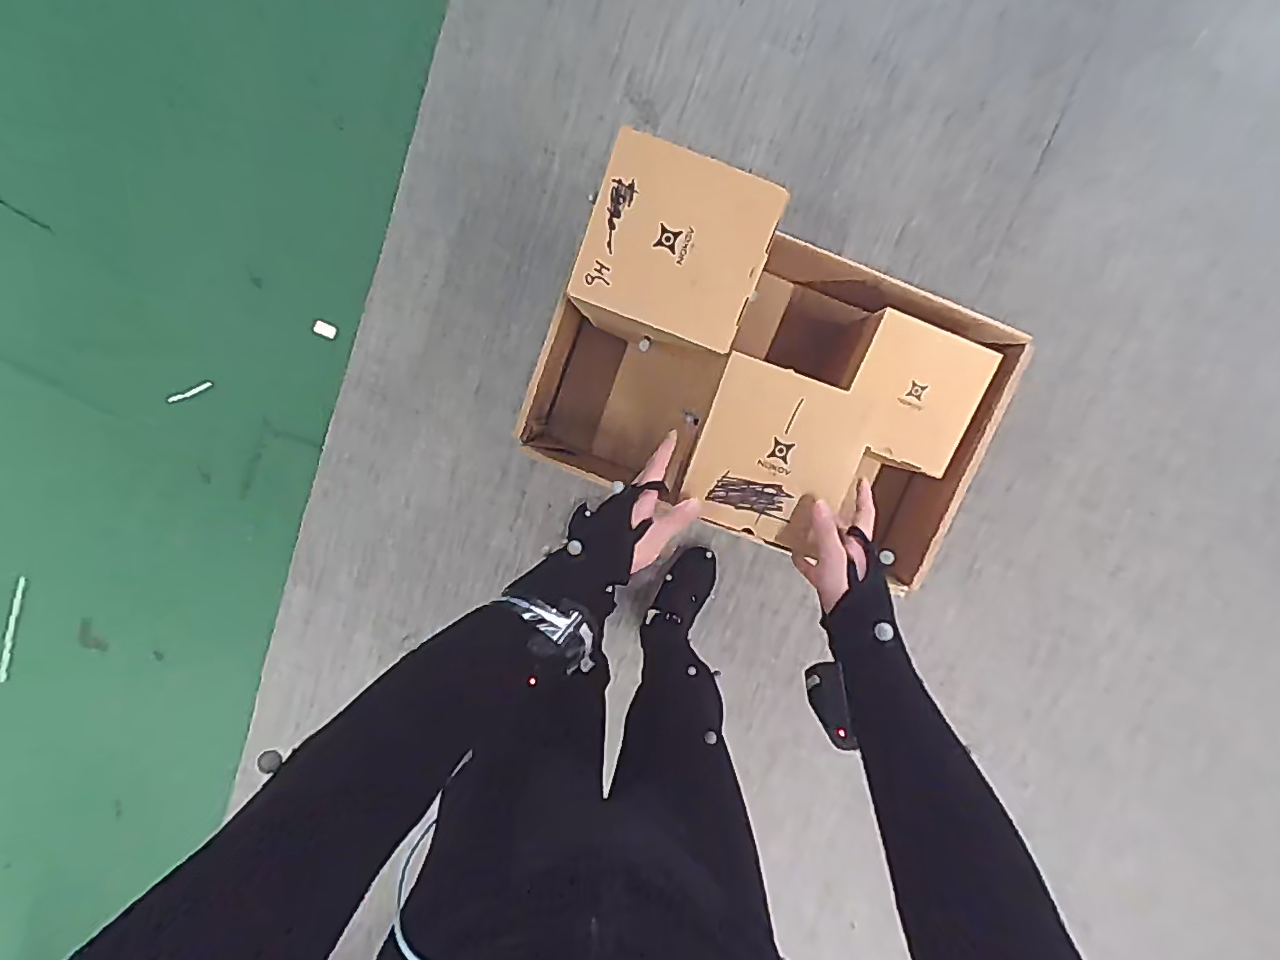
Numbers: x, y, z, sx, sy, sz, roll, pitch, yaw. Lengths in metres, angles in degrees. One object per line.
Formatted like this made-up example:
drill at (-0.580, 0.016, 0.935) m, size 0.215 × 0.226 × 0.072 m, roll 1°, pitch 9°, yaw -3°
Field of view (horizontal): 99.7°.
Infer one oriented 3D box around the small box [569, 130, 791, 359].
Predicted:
small box at (0.038, -0.242, 0.607) m, size 0.179 × 0.176 × 0.168 m, roll 21°, pitch 99°, yaw -3°

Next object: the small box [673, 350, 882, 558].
small box at (0.143, -0.035, 0.634) m, size 0.168 × 0.176 × 0.179 m, roll 19°, pitch 98°, yaw -2°
